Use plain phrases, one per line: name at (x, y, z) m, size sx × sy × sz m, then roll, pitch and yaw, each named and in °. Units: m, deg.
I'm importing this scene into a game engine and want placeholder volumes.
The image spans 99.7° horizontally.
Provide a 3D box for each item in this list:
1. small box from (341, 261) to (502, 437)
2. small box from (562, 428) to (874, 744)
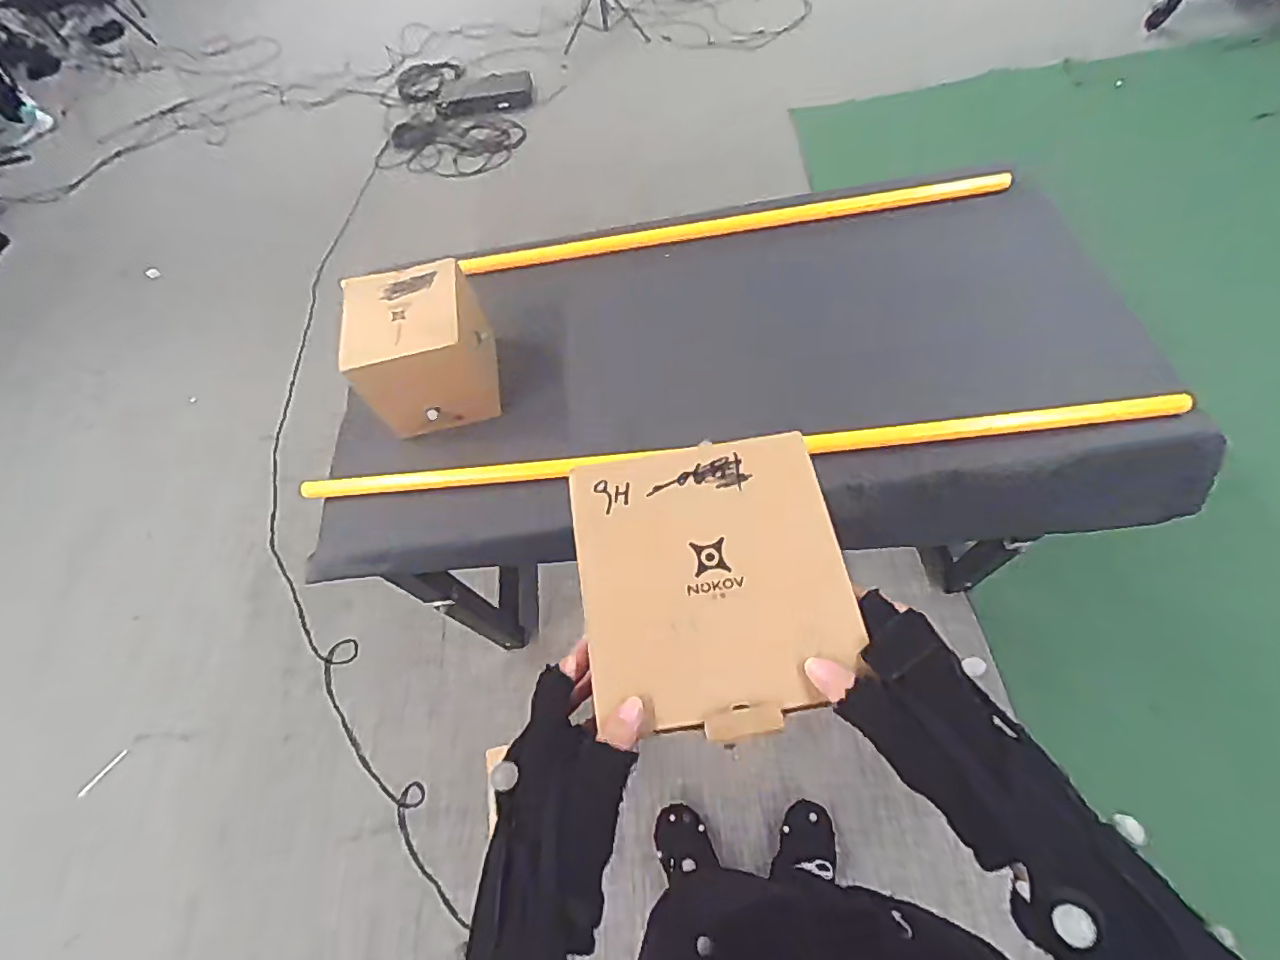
small box at (-0.319, -0.192, 0.819) m, size 0.168 × 0.176 × 0.179 m, roll -13°, pitch 61°, yaw 1°
small box at (0.047, 0.088, 0.415) m, size 0.168 × 0.176 × 0.179 m, roll -12°, pitch 66°, yaw -1°
